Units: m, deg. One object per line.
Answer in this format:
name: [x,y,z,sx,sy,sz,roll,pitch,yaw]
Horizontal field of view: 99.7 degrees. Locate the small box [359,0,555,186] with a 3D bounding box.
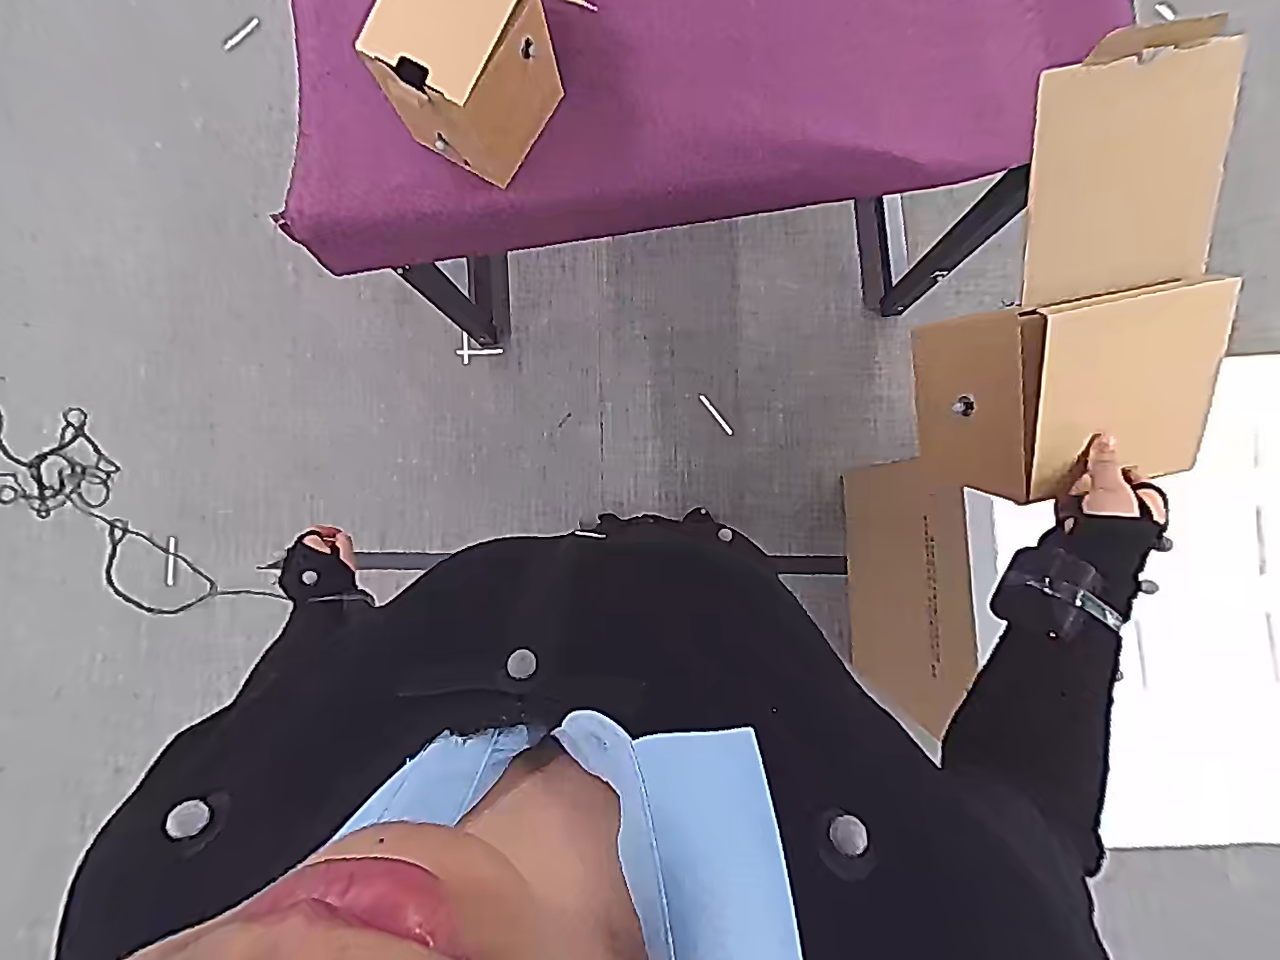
small box: [-0.233,-0.558,0.745,0.168,0.176,0.179,31,88,5]
